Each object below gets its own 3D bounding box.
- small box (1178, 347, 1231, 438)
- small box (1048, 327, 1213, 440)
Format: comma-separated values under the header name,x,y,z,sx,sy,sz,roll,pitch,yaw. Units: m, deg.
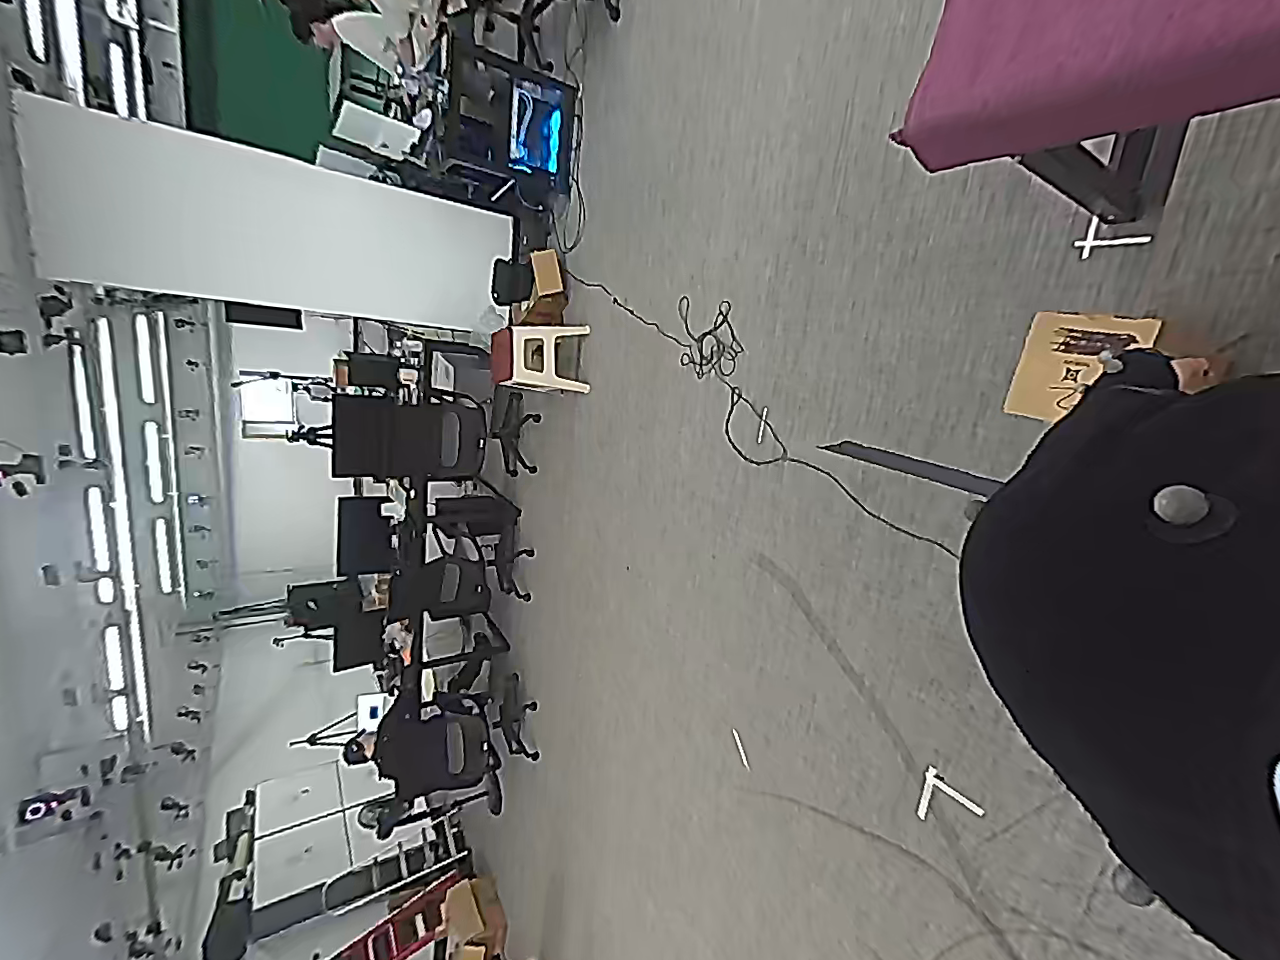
name,x,y,z,sx,sy,sz,roll,pitch,yaw
small box,1.032,-0.188,1.090,0.168,0.176,0.179,35,120,49
small box,0.899,-0.177,0.992,0.168,0.176,0.179,28,115,52
